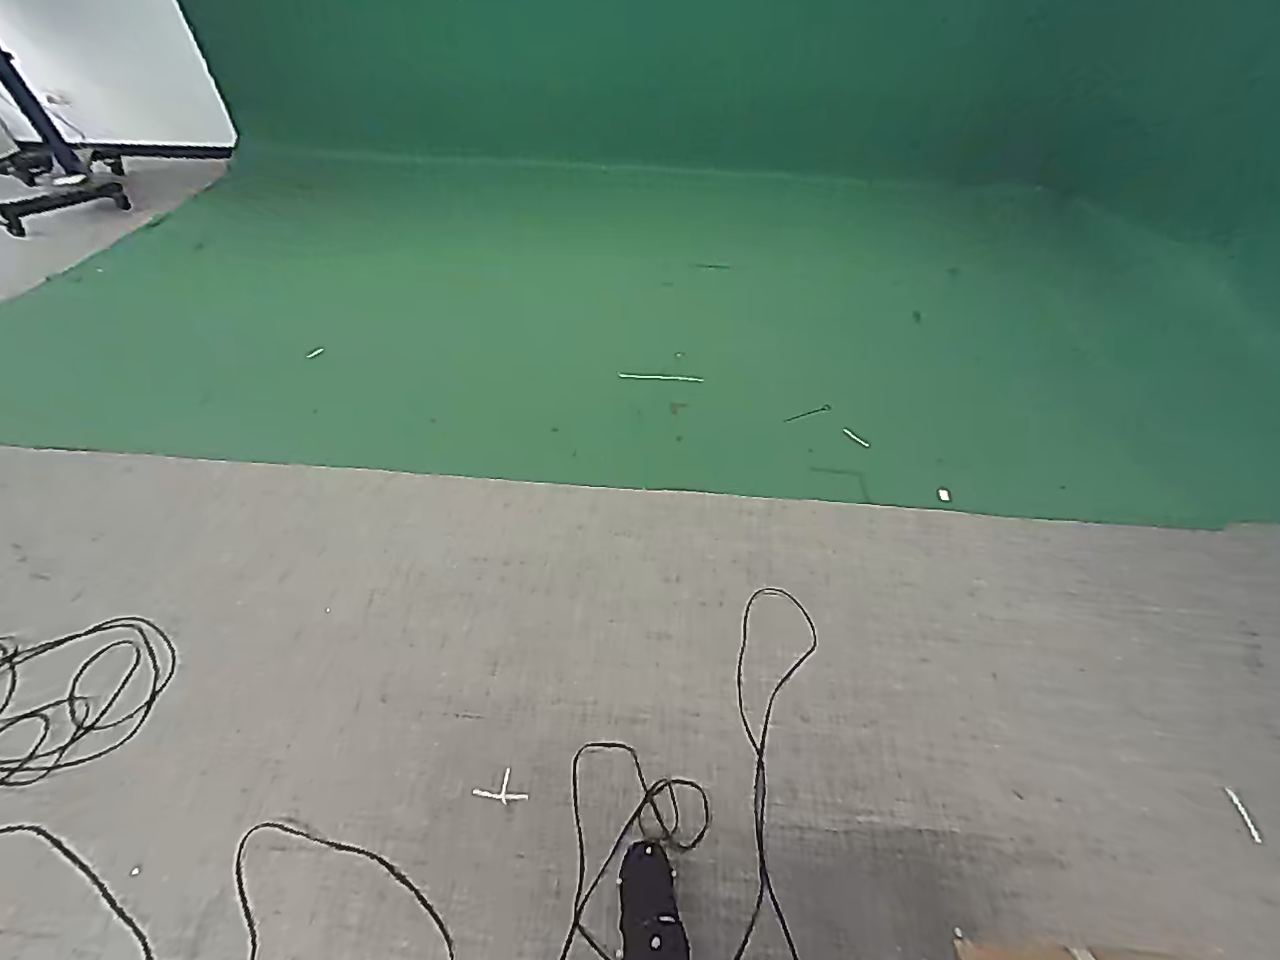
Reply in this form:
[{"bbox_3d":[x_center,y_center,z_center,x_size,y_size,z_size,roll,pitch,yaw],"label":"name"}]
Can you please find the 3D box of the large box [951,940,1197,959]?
[{"bbox_3d":[0.571,0.781,0.542,0.320,0.408,0.320,-3,84,10],"label":"large box"}]
